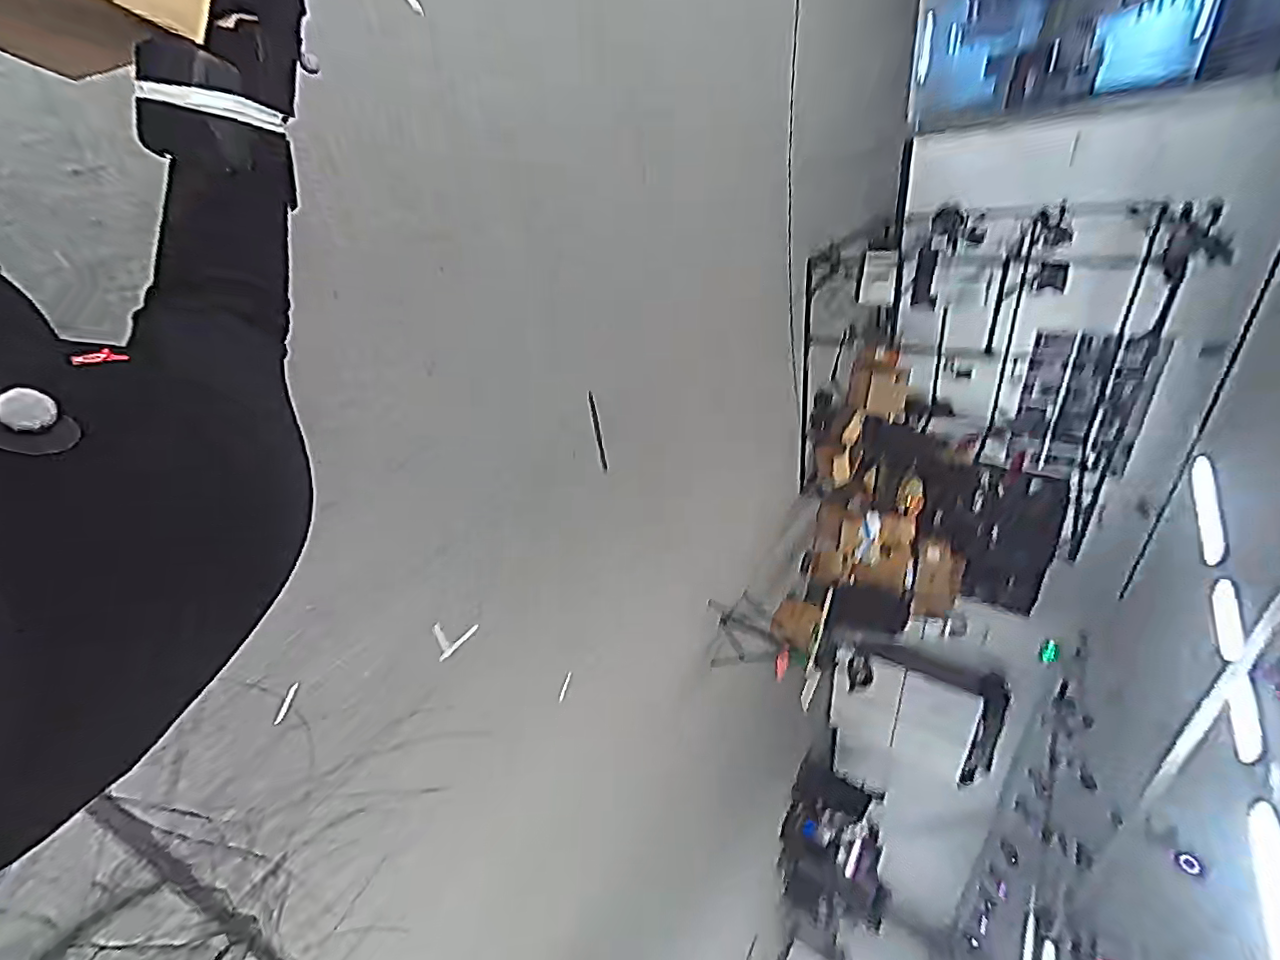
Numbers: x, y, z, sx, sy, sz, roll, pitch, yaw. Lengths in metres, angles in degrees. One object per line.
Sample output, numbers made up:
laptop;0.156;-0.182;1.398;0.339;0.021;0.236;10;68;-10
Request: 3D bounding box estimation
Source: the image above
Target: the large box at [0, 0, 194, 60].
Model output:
large box;-0.476;-0.462;0.217;0.408;0.320;0.320;-5;113;-57
